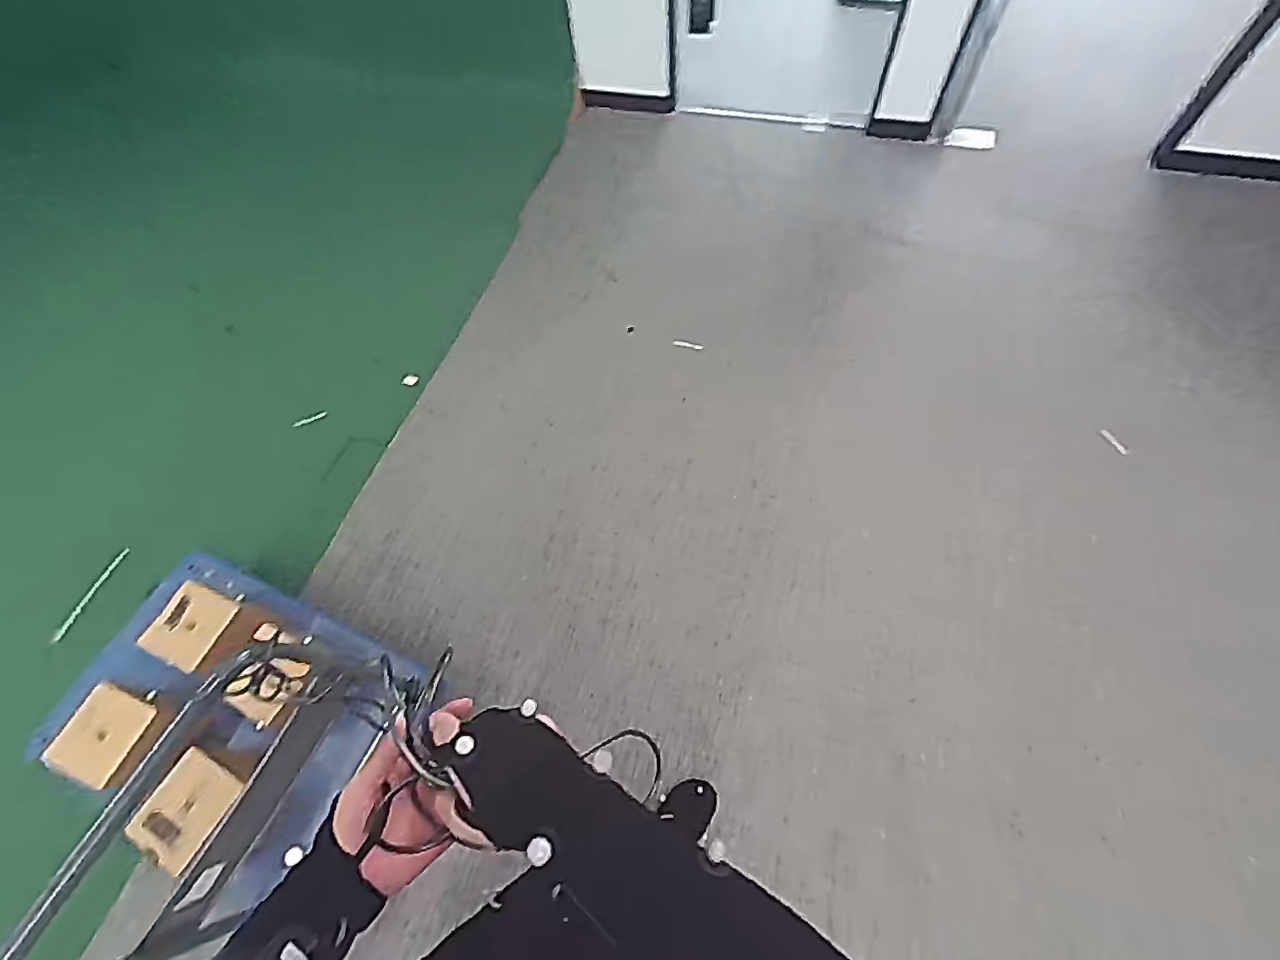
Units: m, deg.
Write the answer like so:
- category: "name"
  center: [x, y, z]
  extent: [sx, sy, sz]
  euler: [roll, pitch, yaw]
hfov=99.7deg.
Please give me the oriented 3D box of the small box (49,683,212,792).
- category: "small box"
  center: [-1.150, 0.587, 1.239]
  extent: [0.179, 0.176, 0.168]
  euler: [19, 65, 12]

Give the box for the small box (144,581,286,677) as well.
- category: "small box"
  center: [-1.042, 0.377, 1.339]
  extent: [0.179, 0.176, 0.168]
  euler: [20, 67, 12]

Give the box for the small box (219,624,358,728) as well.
- category: "small box"
  center: [-0.821, 0.470, 1.279]
  extent: [0.179, 0.176, 0.168]
  euler: [23, 67, 14]
